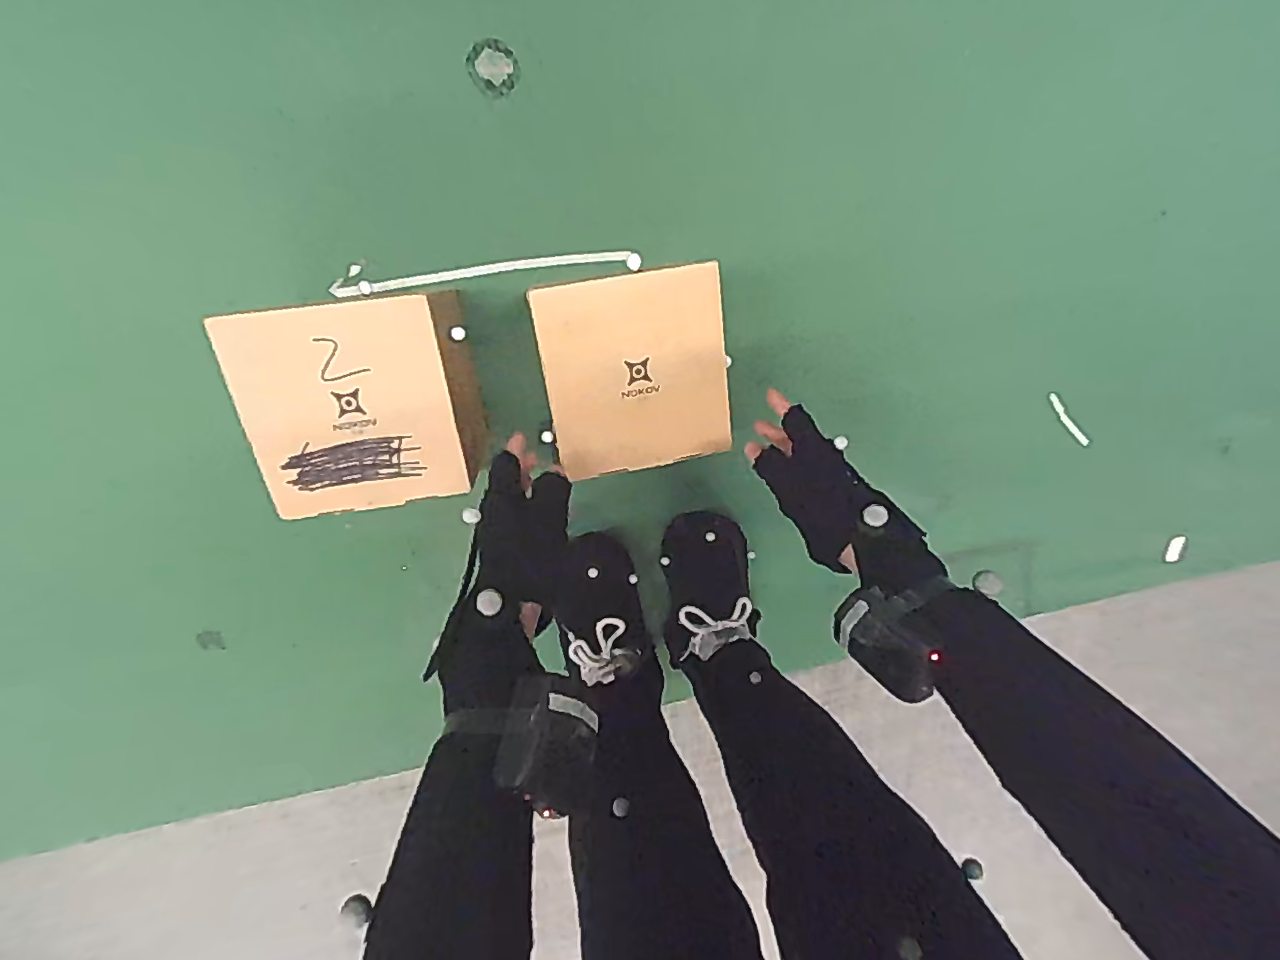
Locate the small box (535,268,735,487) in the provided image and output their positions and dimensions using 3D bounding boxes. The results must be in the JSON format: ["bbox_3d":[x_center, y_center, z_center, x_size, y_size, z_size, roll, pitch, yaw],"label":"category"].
[{"bbox_3d":[-0.012,-0.114,0.558,0.168,0.176,0.179,-11,113,-7],"label":"small box"}]
